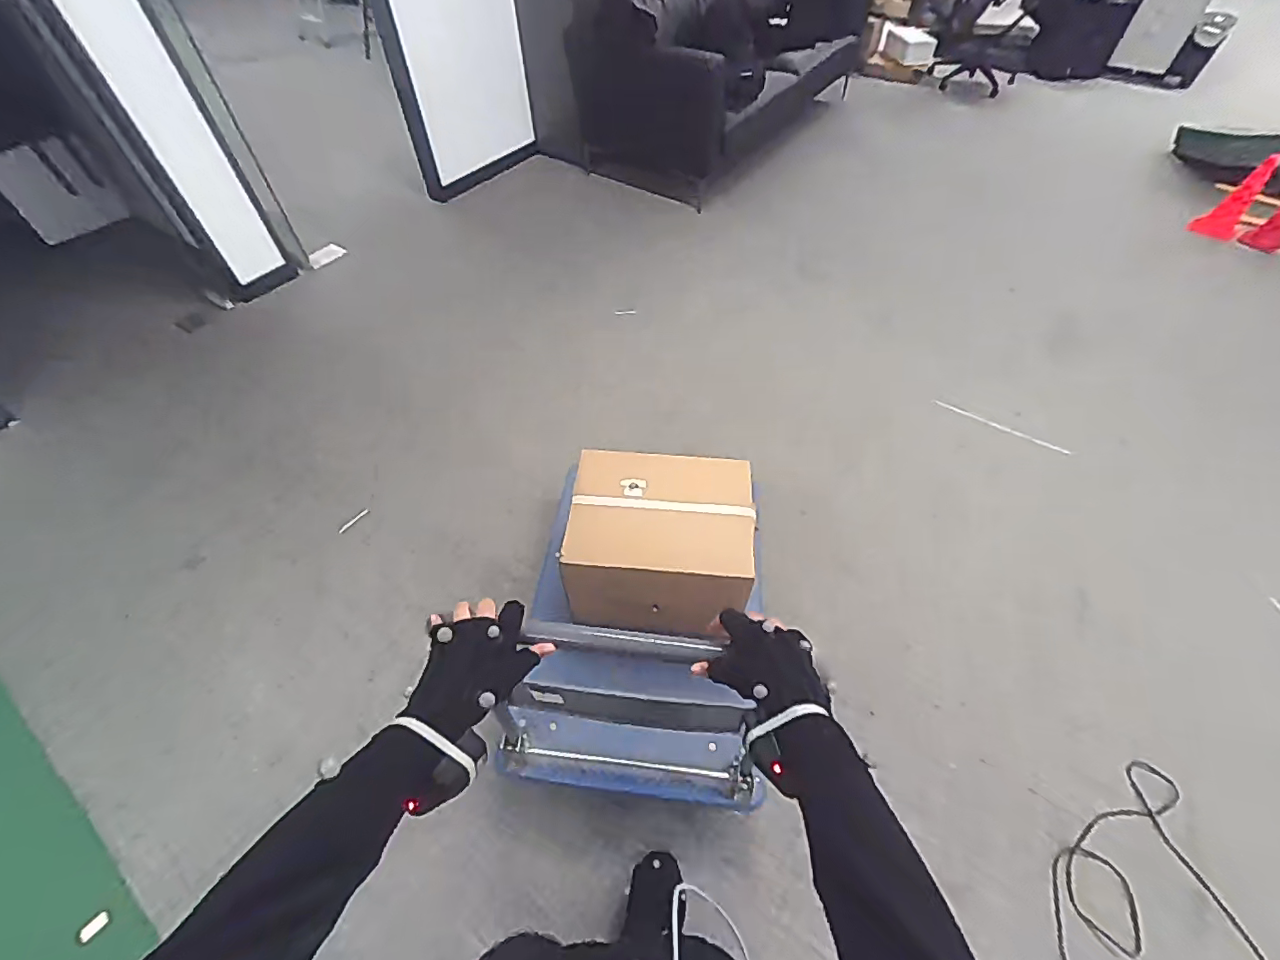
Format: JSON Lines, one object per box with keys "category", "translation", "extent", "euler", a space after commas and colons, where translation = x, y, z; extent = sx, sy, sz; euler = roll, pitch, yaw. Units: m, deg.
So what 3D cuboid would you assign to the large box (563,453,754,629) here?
{"category": "large box", "translation": [0.051, 0.155, 1.322], "extent": [0.408, 0.320, 0.320], "euler": [4, 52, 4]}
